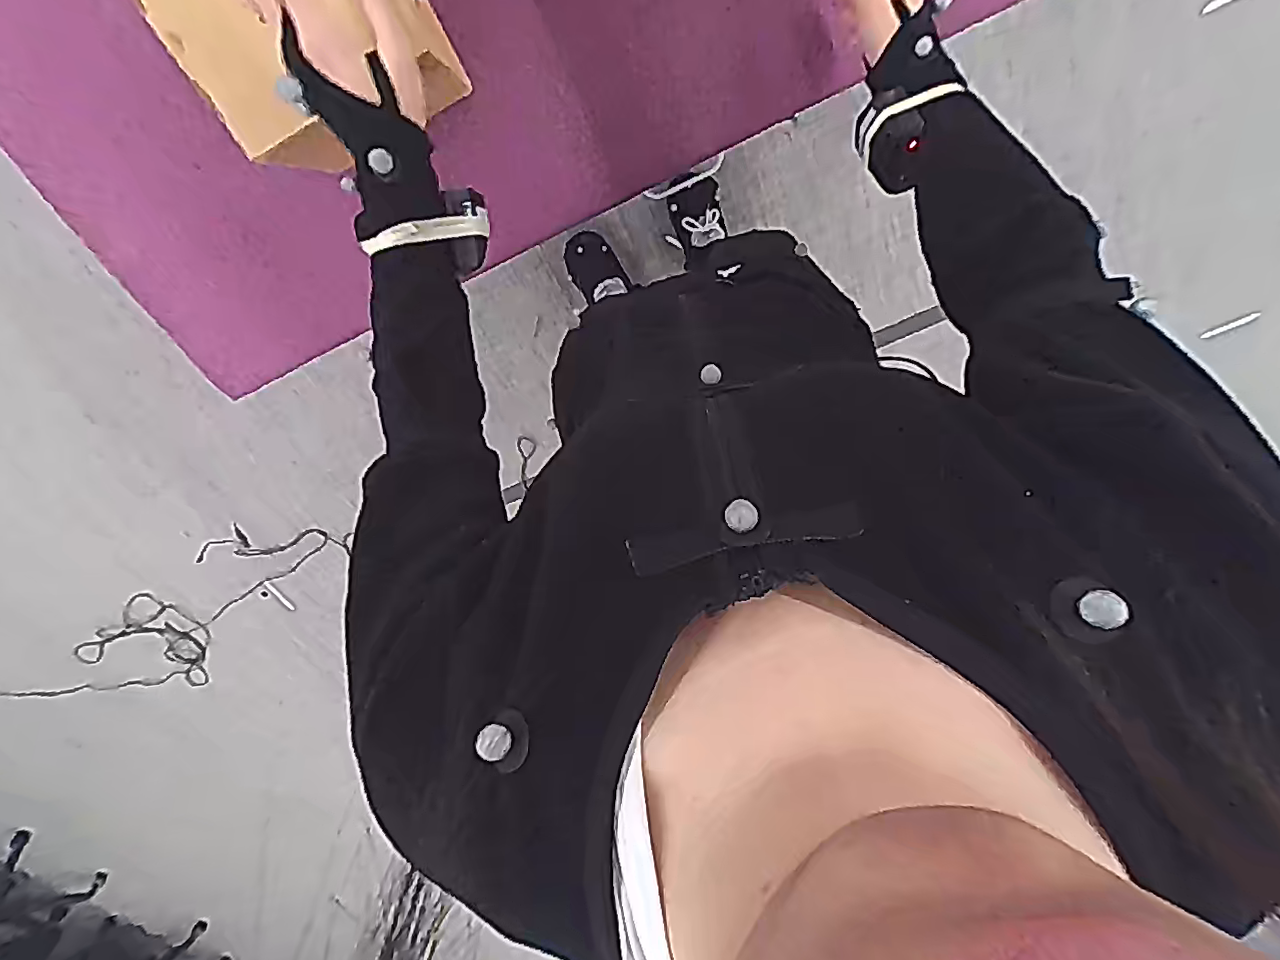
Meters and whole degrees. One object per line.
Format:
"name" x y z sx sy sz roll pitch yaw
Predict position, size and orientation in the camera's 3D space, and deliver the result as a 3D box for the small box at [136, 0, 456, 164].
"small box" -0.280 -0.397 0.463 0.179 0.176 0.168 -24 117 9
